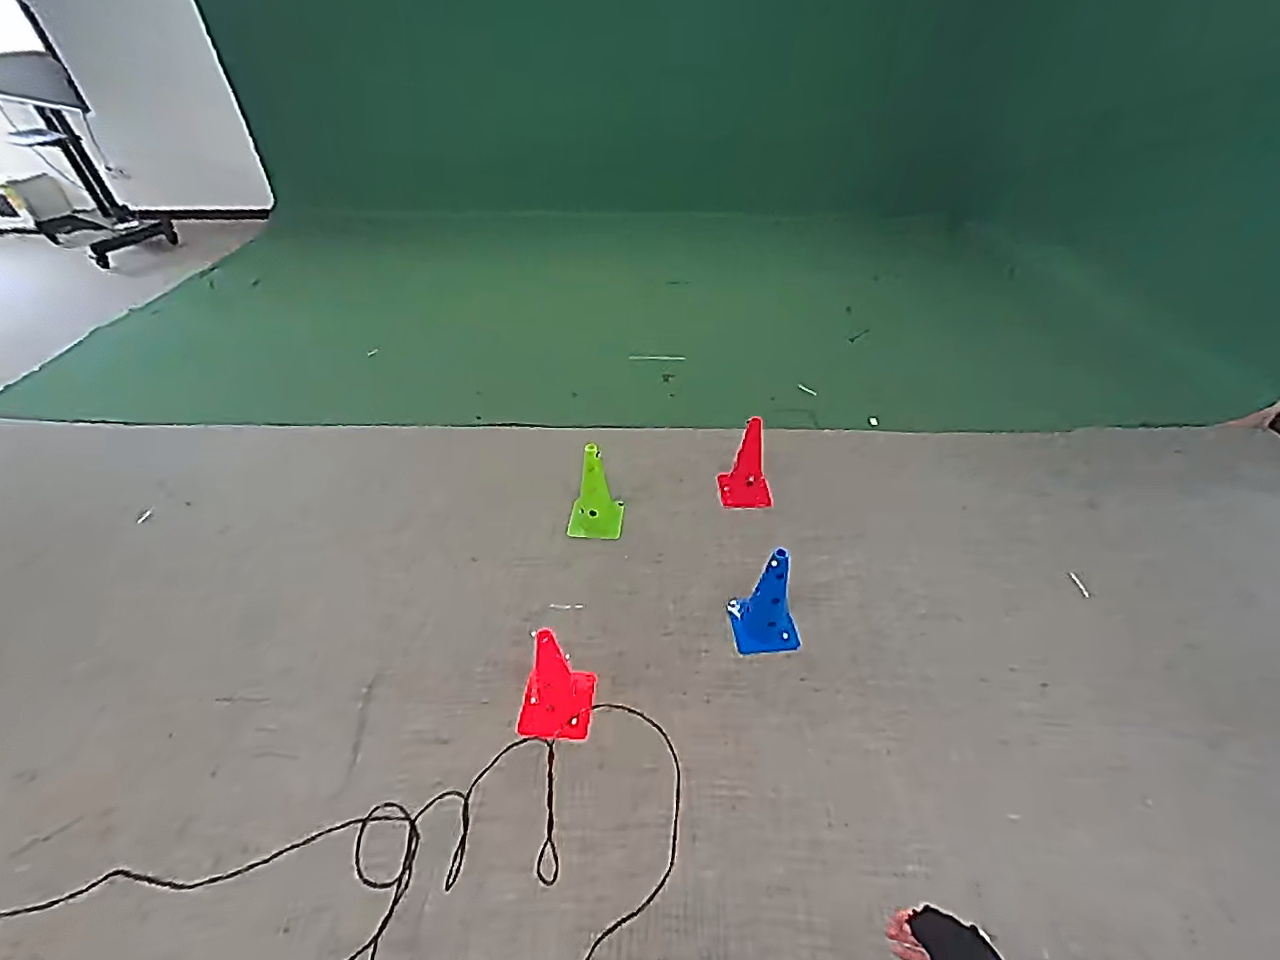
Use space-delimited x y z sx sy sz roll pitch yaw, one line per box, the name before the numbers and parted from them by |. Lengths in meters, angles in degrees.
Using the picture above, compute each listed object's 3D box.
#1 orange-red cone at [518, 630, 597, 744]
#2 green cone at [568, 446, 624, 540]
orange-red cone | -0.229 0.512 1.427 0.198 0.360 0.199 5 40 4
green cone | -0.169 0.026 1.970 0.200 0.368 0.202 2 43 3
